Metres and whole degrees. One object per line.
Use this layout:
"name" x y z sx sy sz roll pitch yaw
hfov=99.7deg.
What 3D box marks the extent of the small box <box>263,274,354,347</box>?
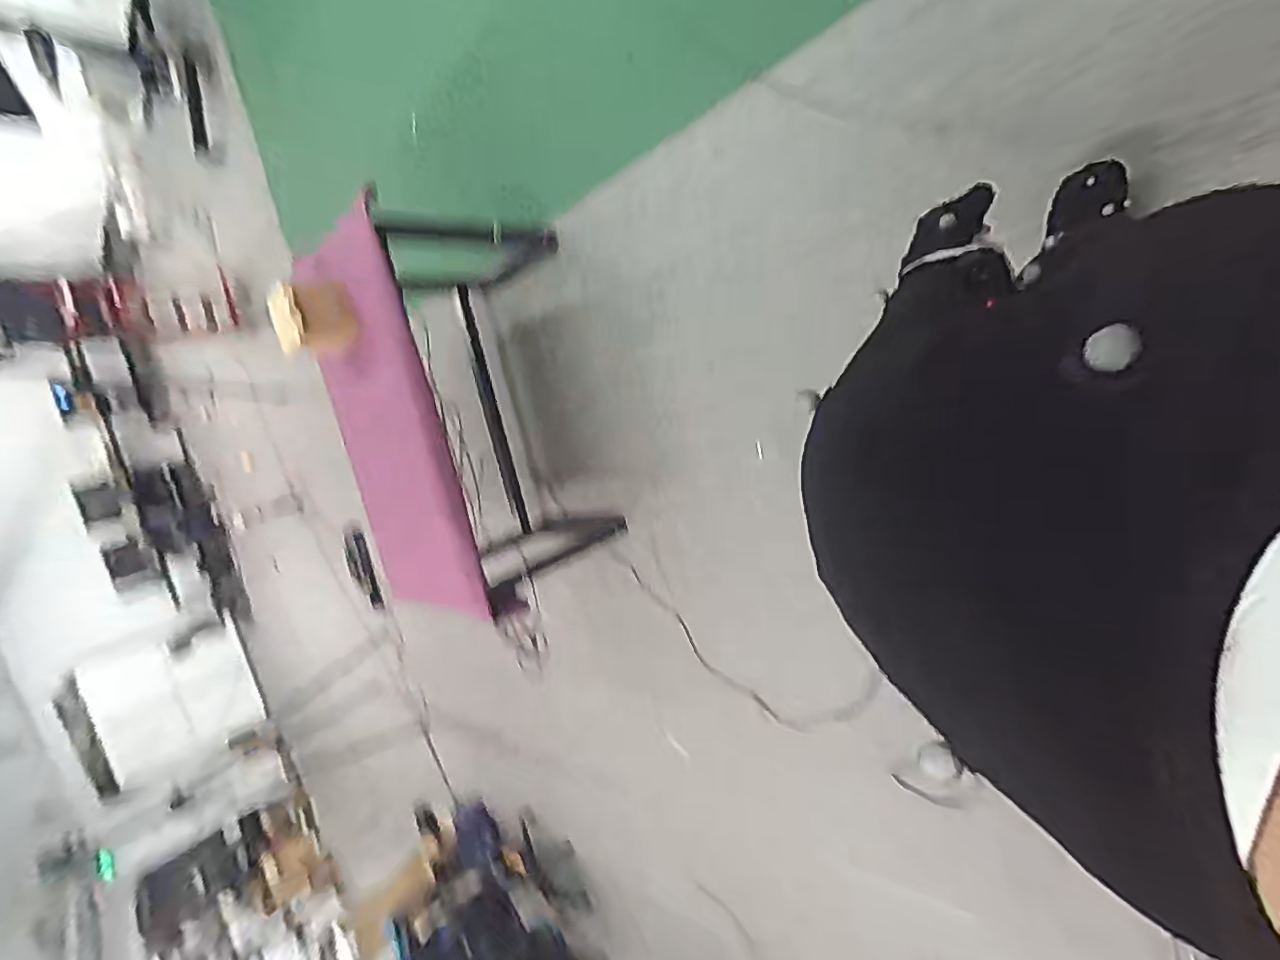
"small box" -0.991 -0.507 1.625 0.179 0.176 0.168 -8 102 43
